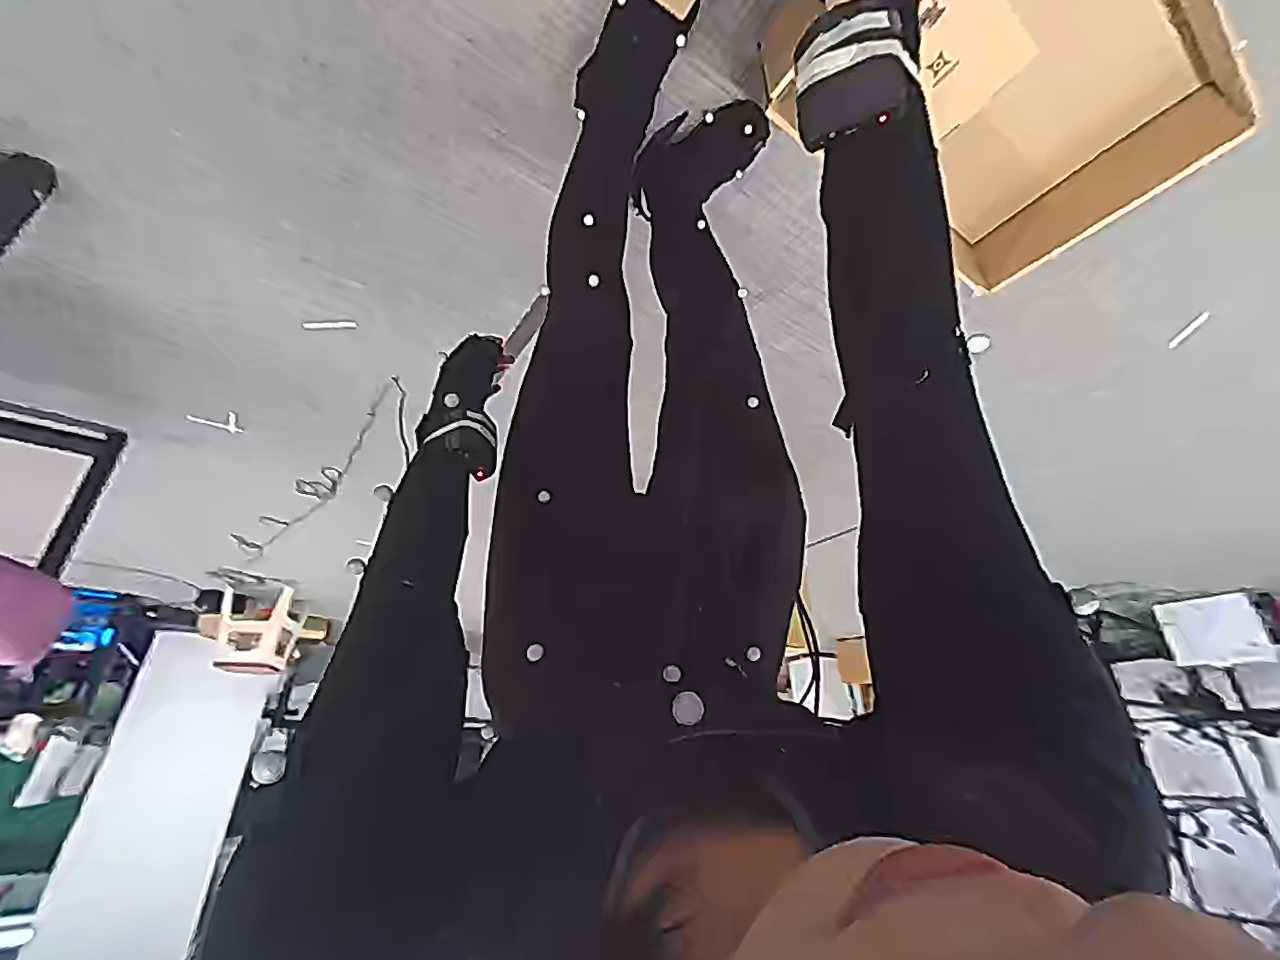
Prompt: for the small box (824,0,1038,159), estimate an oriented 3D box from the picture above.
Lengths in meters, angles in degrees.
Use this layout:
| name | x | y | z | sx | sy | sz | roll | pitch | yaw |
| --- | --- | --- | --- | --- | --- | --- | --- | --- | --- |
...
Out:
| name | x | y | z | sx | sy | sz | roll | pitch | yaw |
| --- | --- | --- | --- | --- | --- | --- | --- | --- | --- |
| small box | 0.372 | -0.582 | 0.711 | 0.179 | 0.176 | 0.168 | 16 | 146 | -31 |
